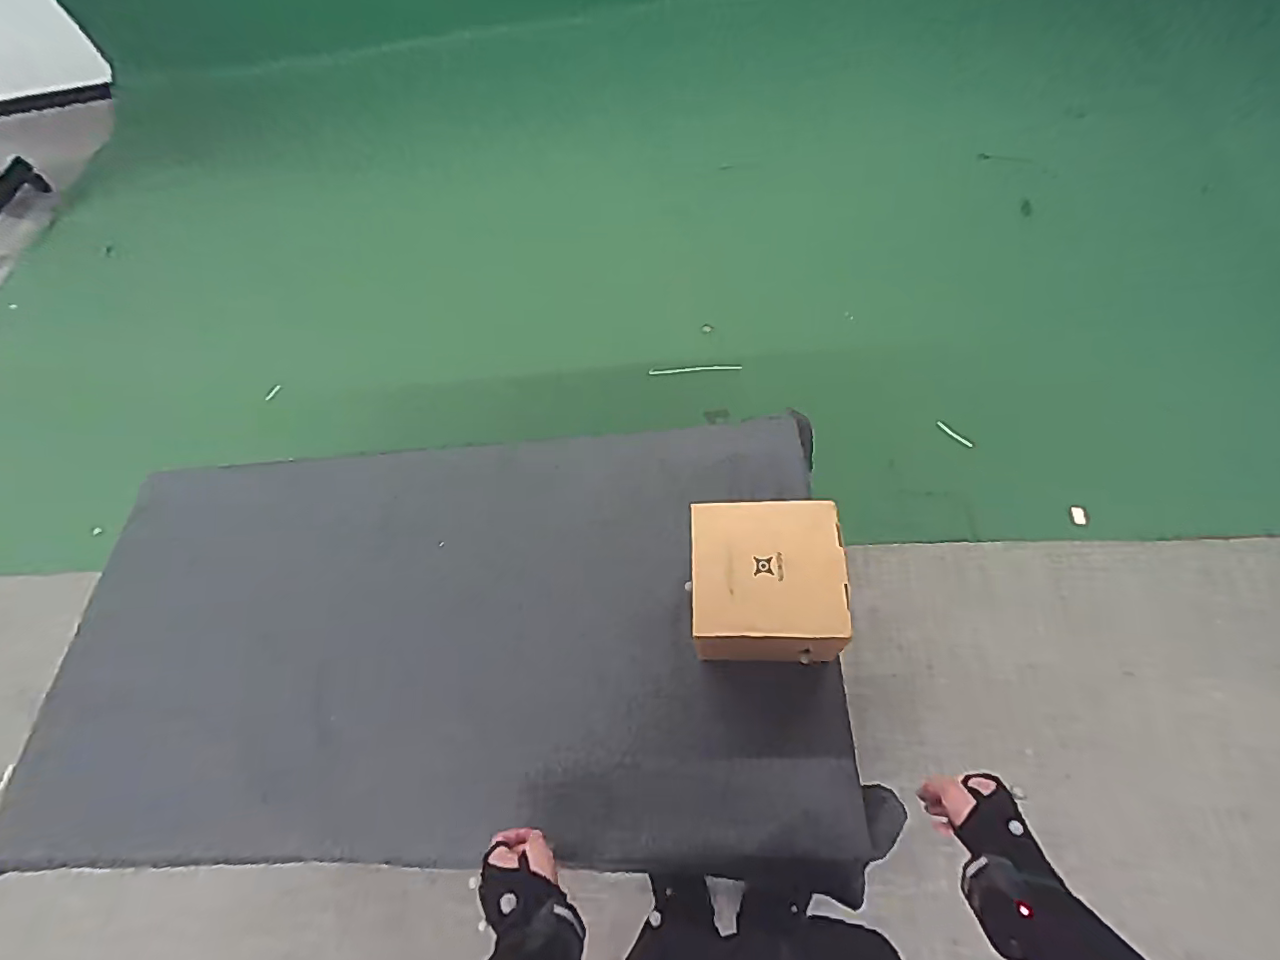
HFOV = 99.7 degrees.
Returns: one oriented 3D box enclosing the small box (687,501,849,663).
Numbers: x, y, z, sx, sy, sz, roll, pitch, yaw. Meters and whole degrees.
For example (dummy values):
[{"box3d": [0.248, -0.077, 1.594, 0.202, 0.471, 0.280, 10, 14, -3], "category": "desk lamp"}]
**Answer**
[{"box3d": [0.153, 0.136, 0.695, 0.179, 0.176, 0.168, -3, 62, 9], "category": "small box"}]
